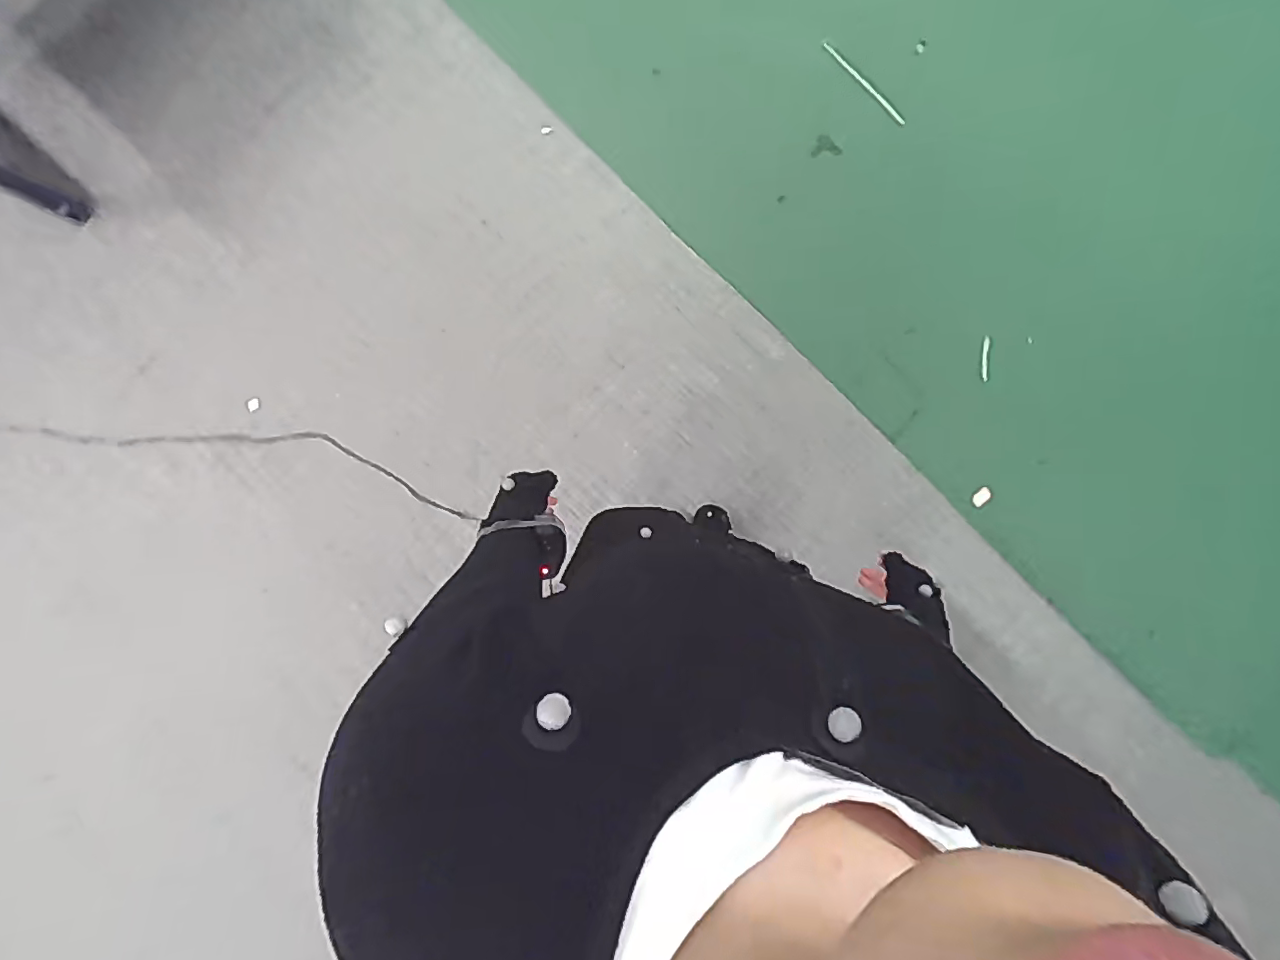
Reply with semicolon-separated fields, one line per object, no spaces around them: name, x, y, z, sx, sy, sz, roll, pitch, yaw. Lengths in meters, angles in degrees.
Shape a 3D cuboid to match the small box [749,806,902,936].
small box;0.316;0.726;0.965;0.168;0.176;0.179;-39;91;3
